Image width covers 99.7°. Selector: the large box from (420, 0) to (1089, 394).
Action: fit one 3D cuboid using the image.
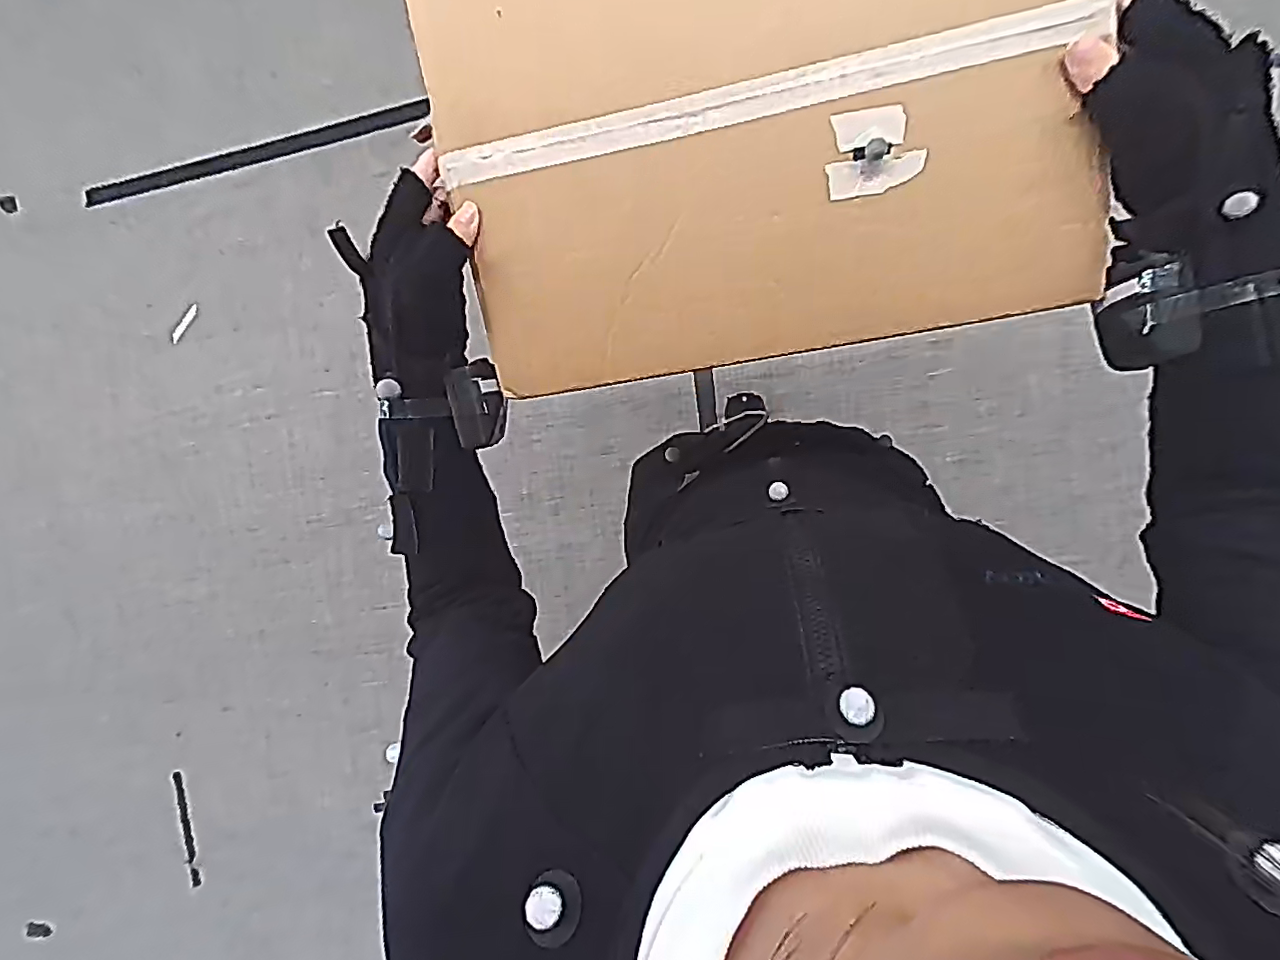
[{"bbox_3d":[0.083,-0.281,0.491,0.408,0.320,0.320,-9,105,7],"label":"large box"}]
